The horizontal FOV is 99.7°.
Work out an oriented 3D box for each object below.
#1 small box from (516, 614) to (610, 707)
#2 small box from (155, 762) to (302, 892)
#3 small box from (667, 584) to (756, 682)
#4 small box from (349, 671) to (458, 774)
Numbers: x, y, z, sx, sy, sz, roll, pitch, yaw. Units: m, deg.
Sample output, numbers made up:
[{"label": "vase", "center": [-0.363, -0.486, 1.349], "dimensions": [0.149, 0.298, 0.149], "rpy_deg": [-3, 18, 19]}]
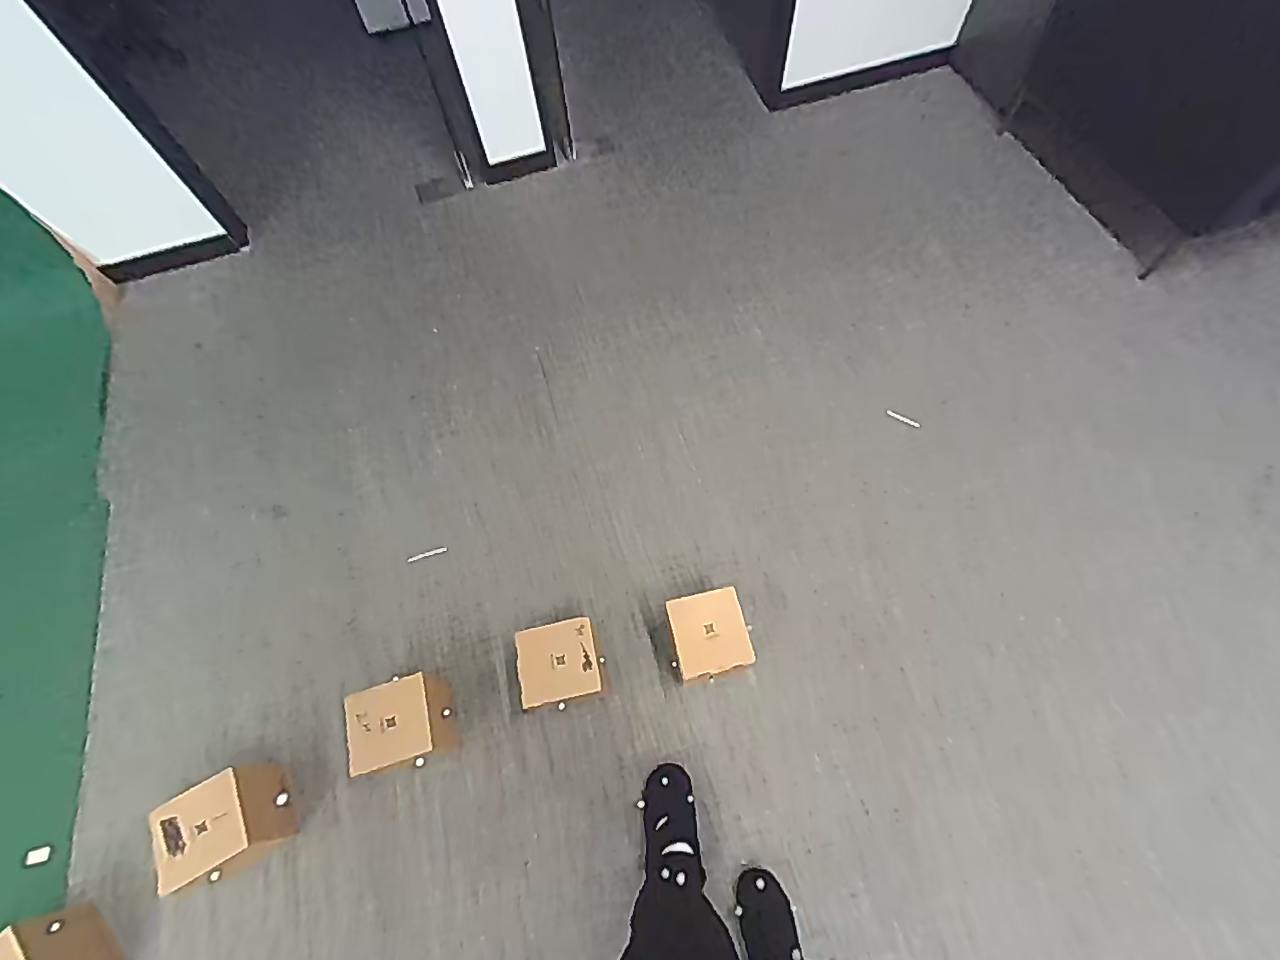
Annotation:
[{"label": "small box", "center": [-0.176, 0.428, 1.268], "dimensions": [0.179, 0.176, 0.168], "rpy_deg": [-12, 65, -2]}, {"label": "small box", "center": [-0.876, 0.732, 1.162], "dimensions": [0.179, 0.176, 0.168], "rpy_deg": [-28, 66, -11]}, {"label": "small box", "center": [0.160, 0.366, 1.282], "dimensions": [0.168, 0.176, 0.179], "rpy_deg": [-13, 65, -3]}, {"label": "small box", "center": [-0.529, 0.548, 1.230], "dimensions": [0.179, 0.176, 0.168], "rpy_deg": [-17, 64, -5]}]
